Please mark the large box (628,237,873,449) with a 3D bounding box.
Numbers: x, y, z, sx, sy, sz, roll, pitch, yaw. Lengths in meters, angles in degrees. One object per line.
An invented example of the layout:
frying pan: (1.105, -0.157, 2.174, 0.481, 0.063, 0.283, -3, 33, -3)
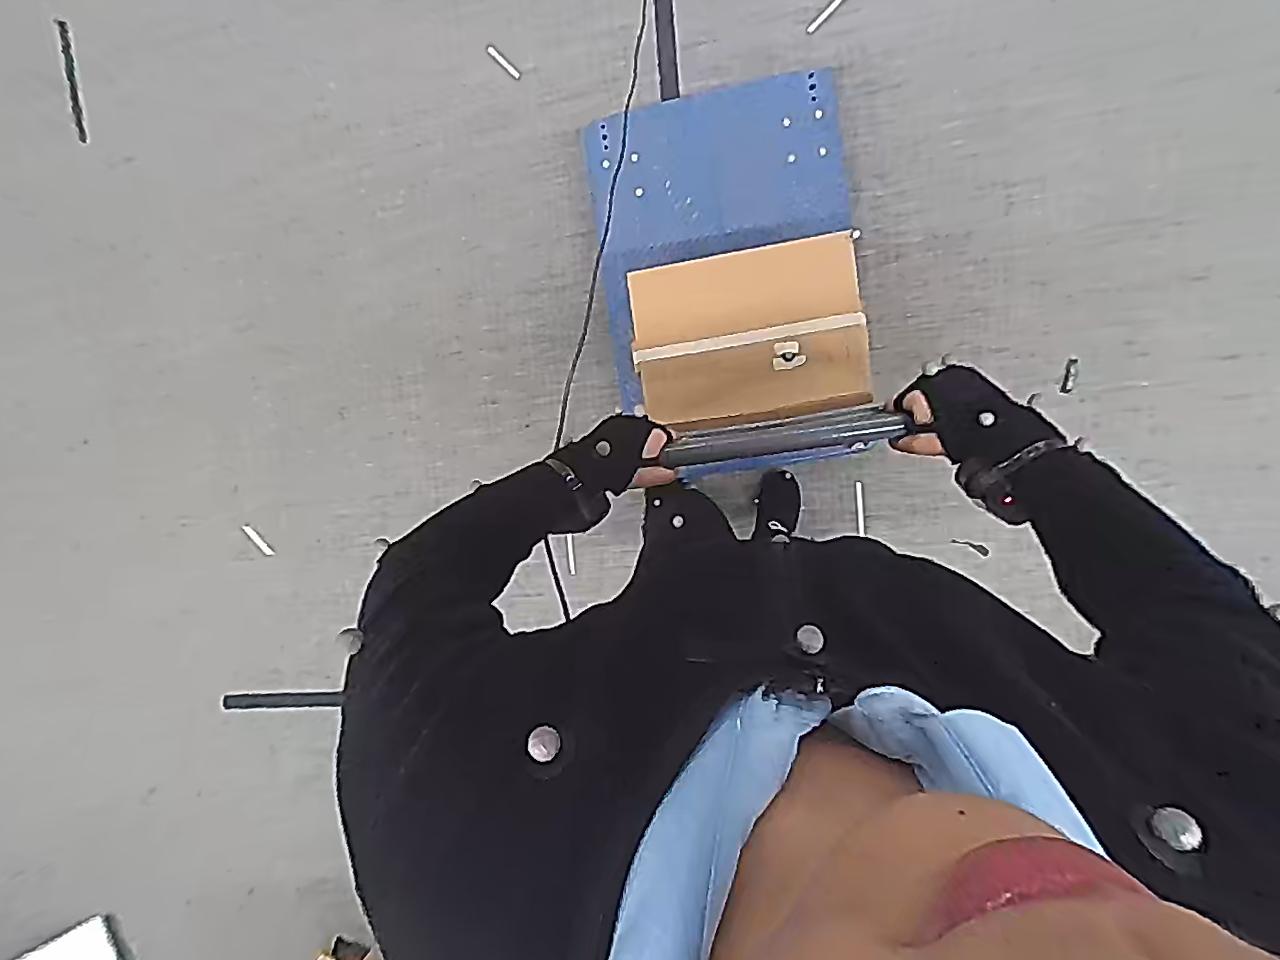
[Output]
large box: (0.212, -0.249, 1.120, 0.408, 0.320, 0.320, -8, 92, 8)
